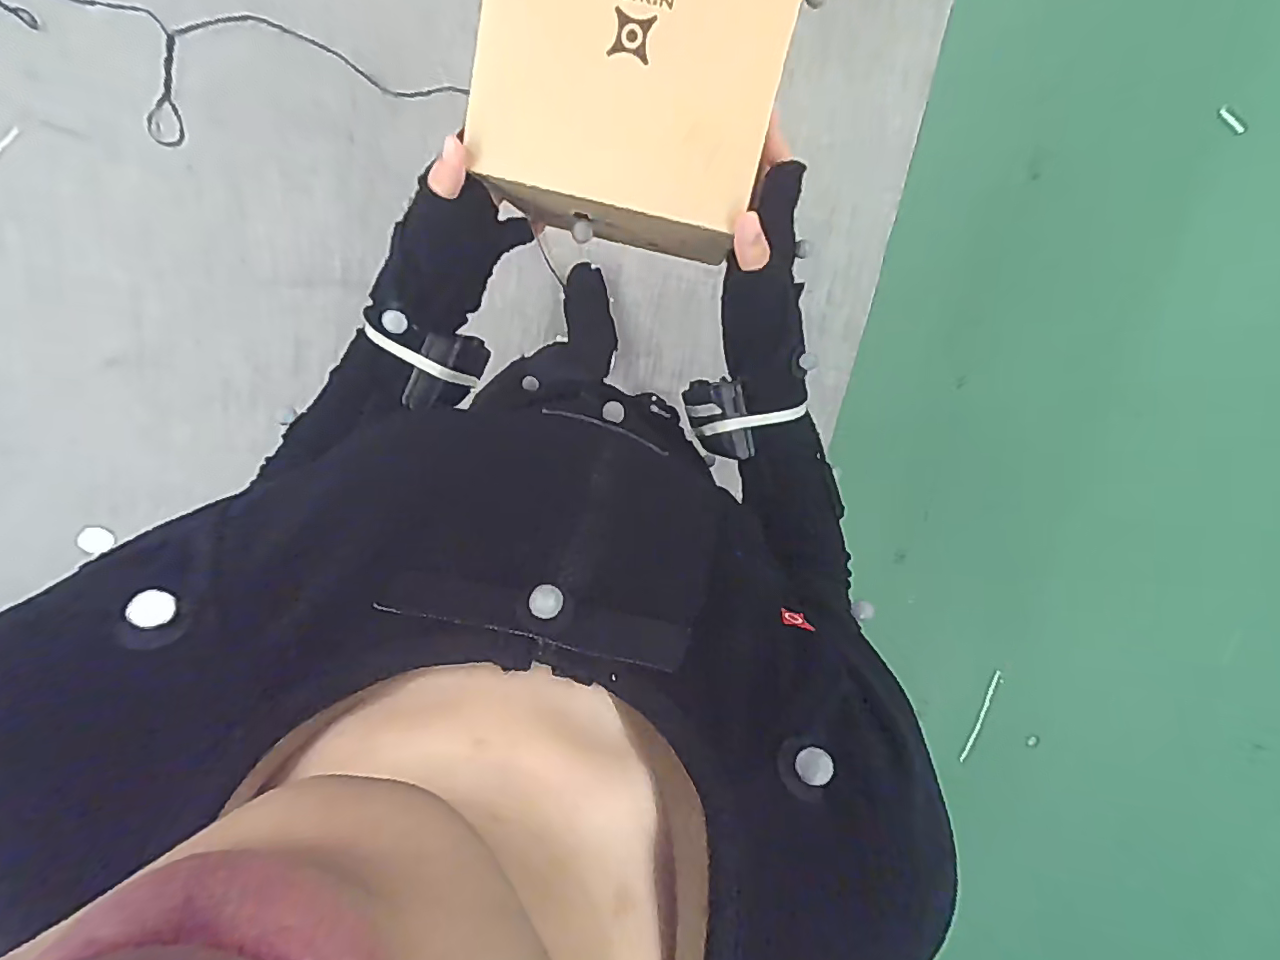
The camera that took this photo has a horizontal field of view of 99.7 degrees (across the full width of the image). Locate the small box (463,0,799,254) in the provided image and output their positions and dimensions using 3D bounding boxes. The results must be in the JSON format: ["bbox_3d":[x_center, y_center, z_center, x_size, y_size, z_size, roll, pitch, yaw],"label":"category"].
[{"bbox_3d":[0.003,-0.262,0.355,0.168,0.176,0.179,13,105,0],"label":"small box"}]
